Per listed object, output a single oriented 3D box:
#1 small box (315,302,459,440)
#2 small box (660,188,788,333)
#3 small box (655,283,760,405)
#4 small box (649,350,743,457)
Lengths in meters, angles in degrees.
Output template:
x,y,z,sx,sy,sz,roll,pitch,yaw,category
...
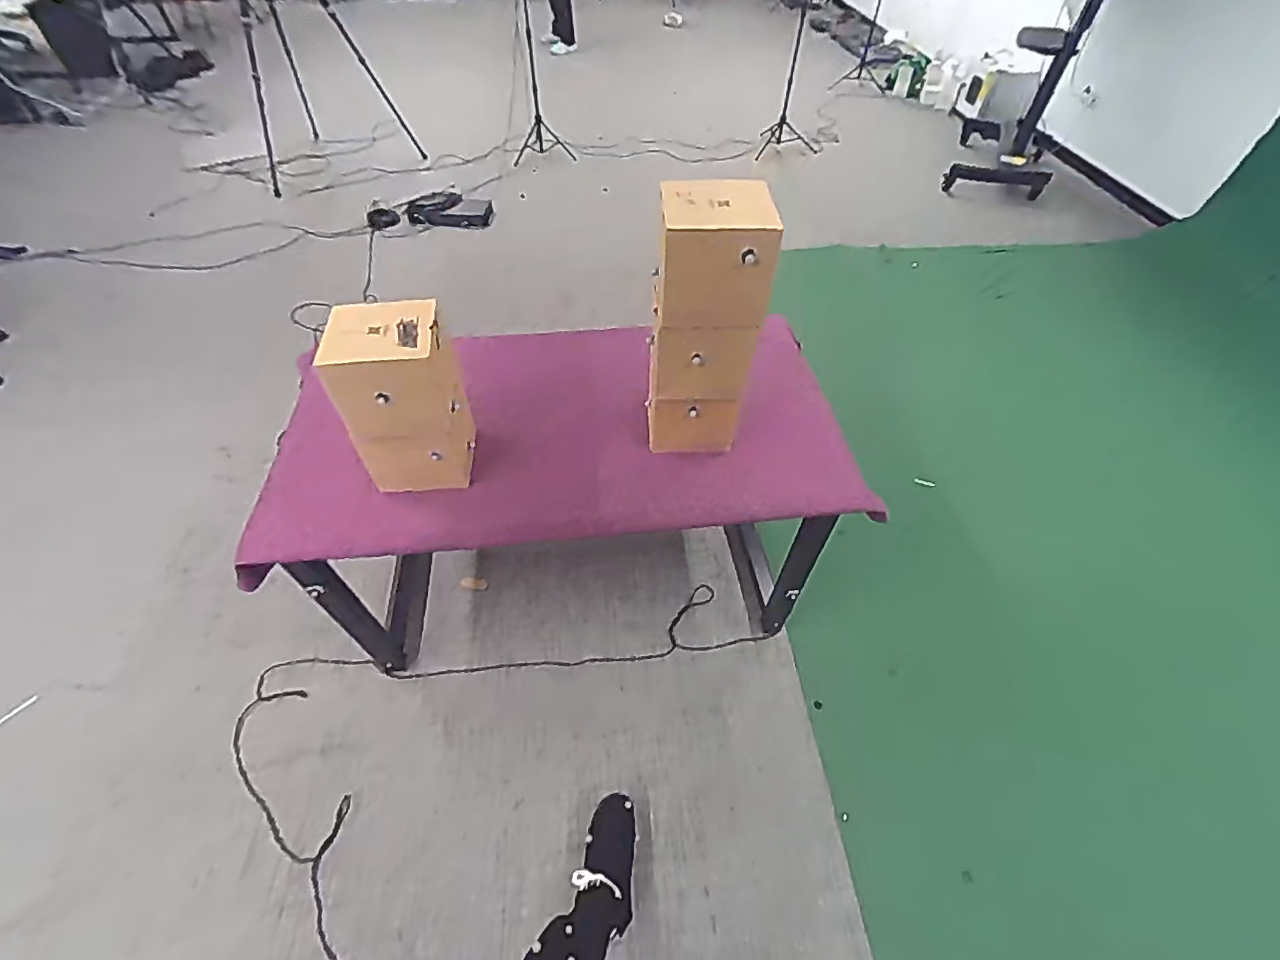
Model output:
x,y,z,sx,sy,sz,roll,pitch,yaw,category
-0.420,-0.186,0.937,0.179,0.176,0.168,-6,51,-7,small box
0.127,-0.358,0.893,0.179,0.176,0.168,-1,50,-2,small box
0.117,-0.256,1.023,0.179,0.176,0.168,-1,51,-1,small box
0.111,-0.161,1.157,0.179,0.176,0.168,-1,51,-2,small box
